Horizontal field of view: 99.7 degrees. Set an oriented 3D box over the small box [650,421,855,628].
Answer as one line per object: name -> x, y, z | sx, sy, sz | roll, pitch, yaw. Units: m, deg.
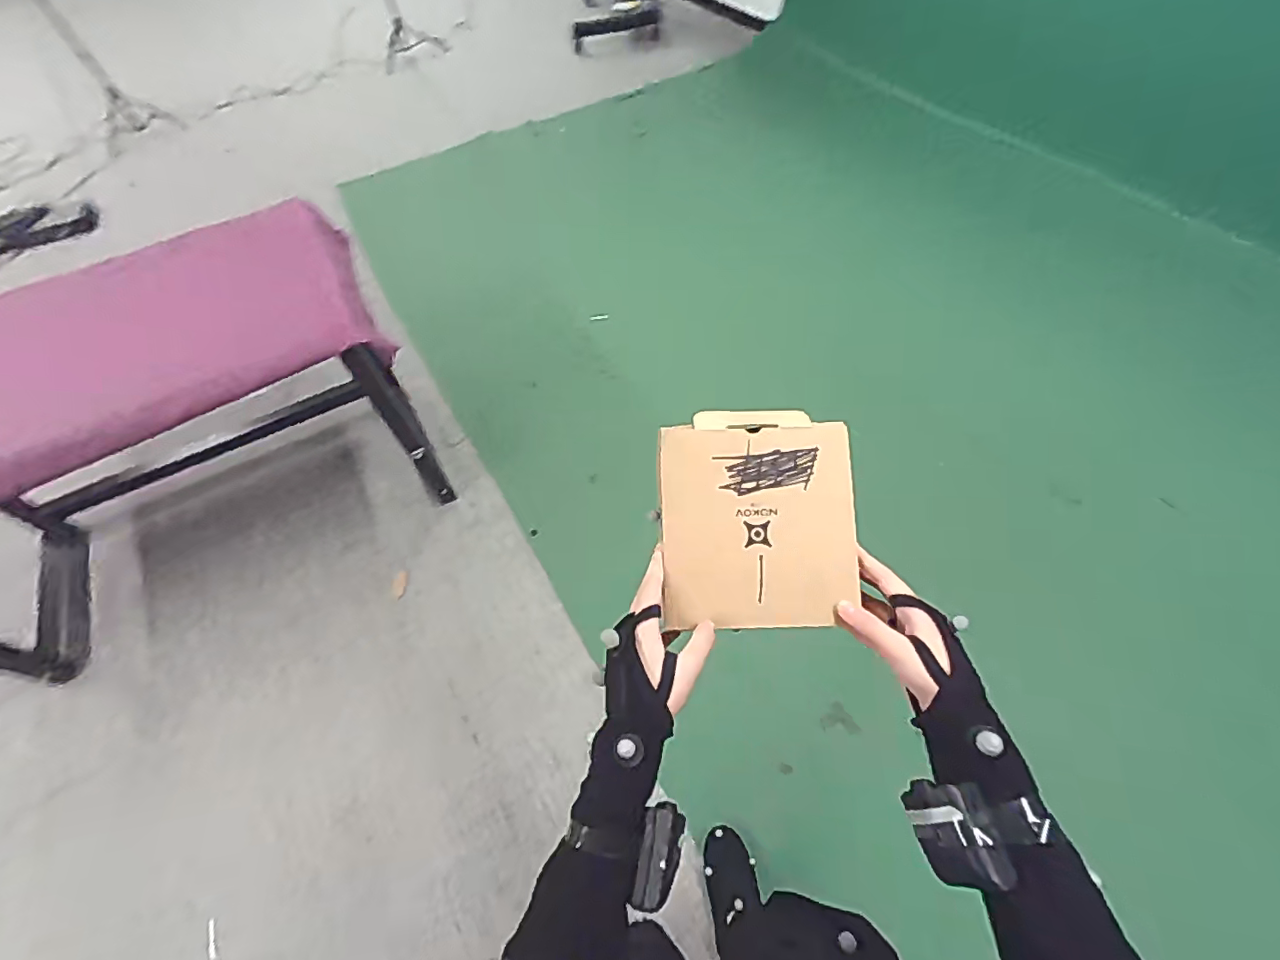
small box -> 0.096, 0.048, 0.542 | 0.168, 0.176, 0.179 | -2, 82, 1
